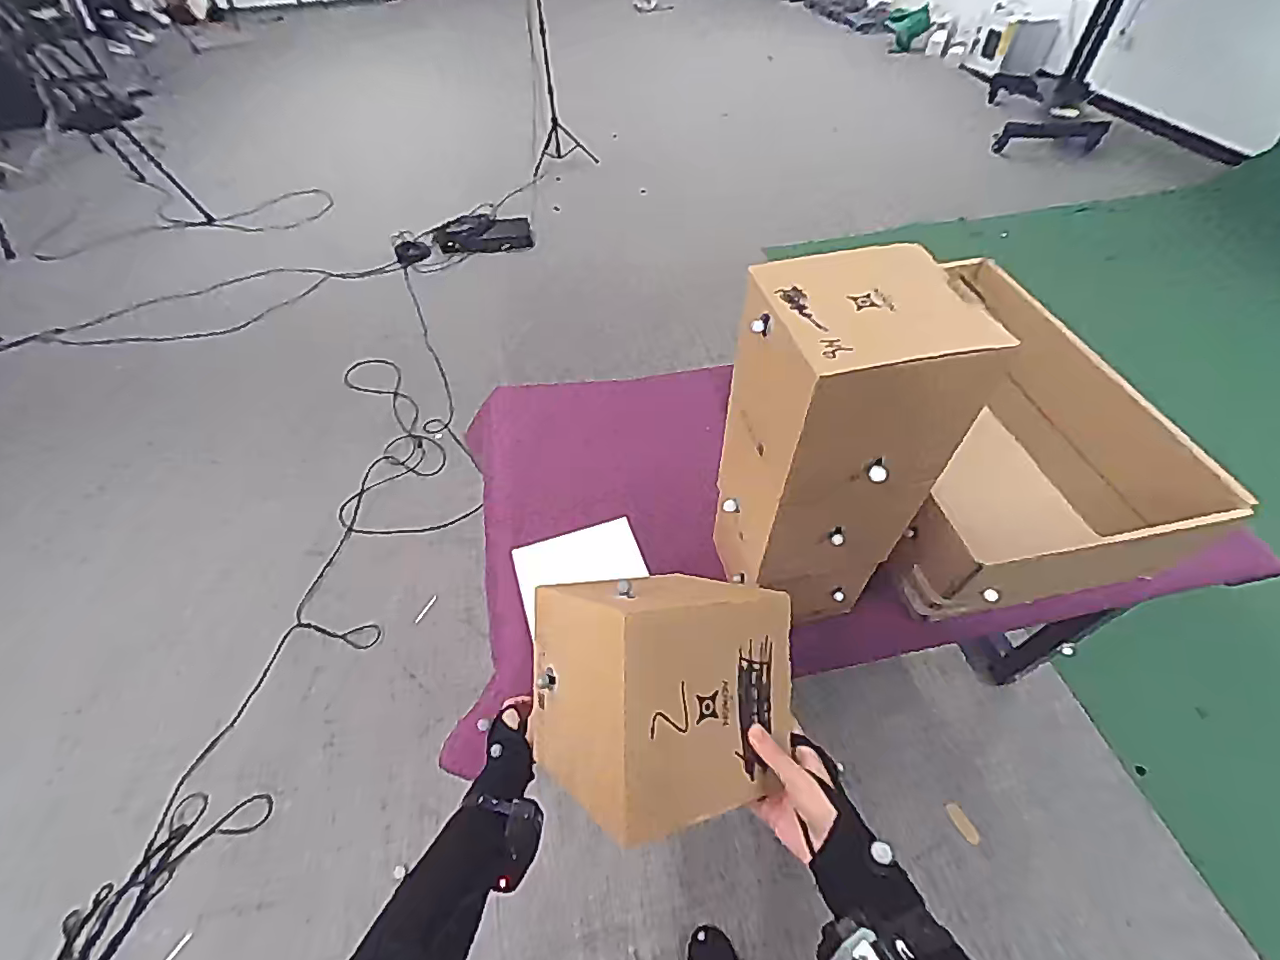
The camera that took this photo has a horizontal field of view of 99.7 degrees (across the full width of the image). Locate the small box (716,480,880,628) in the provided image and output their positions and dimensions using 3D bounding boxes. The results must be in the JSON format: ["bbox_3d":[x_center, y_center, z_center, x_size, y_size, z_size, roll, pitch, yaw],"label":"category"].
[{"bbox_3d":[0.215,0.101,0.792,0.168,0.176,0.179,-9,50,-6],"label":"small box"}]

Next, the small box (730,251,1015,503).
[{"bbox_3d":[0.202,-0.098,0.531,0.179,0.176,0.168,-9,50,-7],"label":"small box"}]

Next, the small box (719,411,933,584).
[{"bbox_3d":[0.206,0.006,0.658,0.179,0.176,0.168,-9,50,-6],"label":"small box"}]
